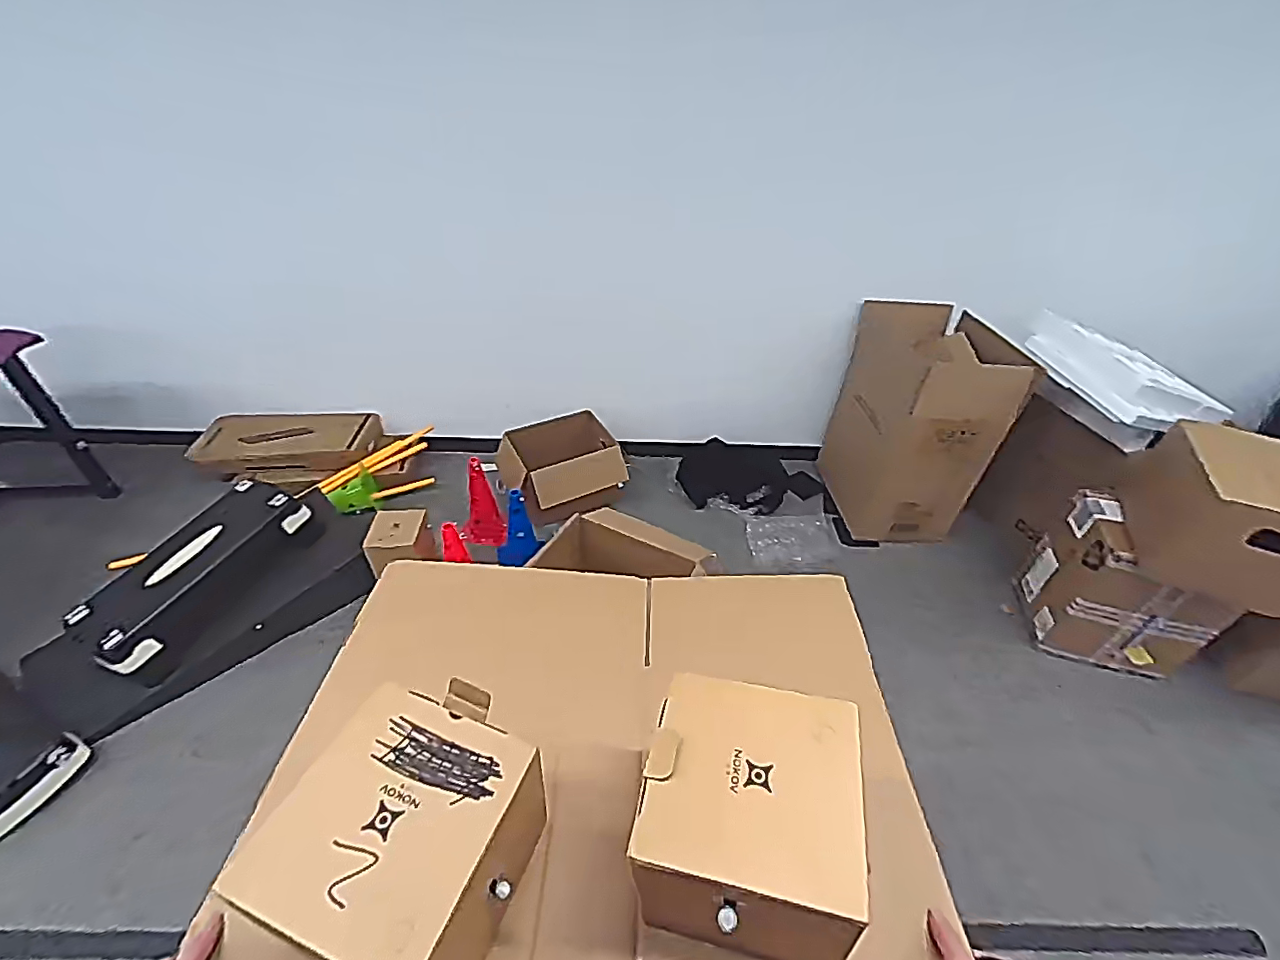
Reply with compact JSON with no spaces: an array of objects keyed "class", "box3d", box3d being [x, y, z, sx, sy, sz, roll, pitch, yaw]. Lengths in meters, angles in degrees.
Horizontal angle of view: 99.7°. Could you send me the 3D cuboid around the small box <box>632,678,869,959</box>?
[{"class":"small box","box3d":[0.105,0.318,0.508,0.179,0.176,0.168,5,39,15]}]
